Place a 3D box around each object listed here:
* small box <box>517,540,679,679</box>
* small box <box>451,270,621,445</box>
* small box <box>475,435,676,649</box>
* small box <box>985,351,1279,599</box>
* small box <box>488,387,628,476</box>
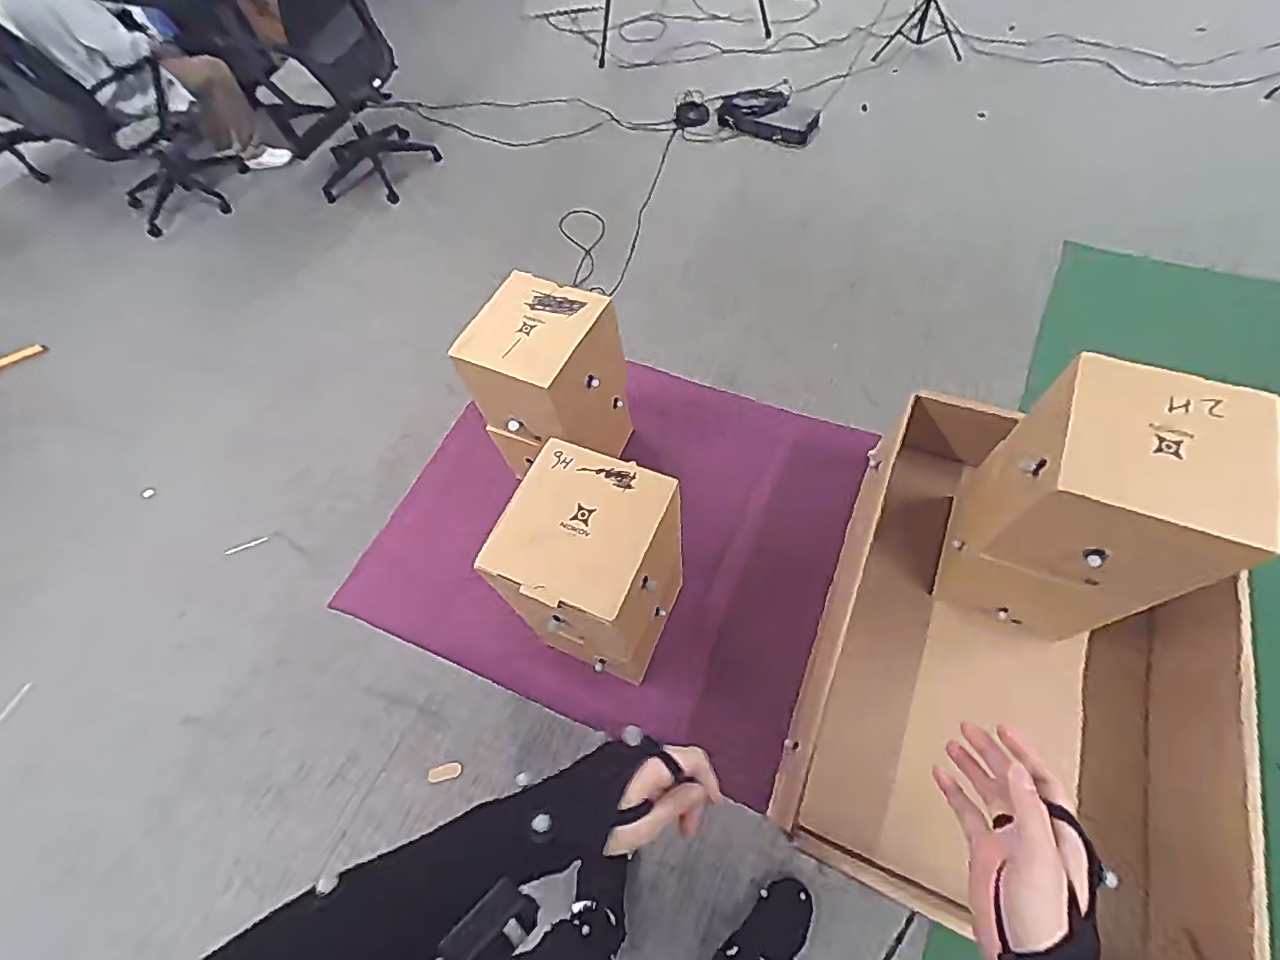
[{"bbox_3d":[-0.047,0.166,0.788,0.168,0.176,0.179,20,63,16],"label":"small box"},{"bbox_3d":[-0.138,-0.171,0.802,0.168,0.176,0.179,22,65,18],"label":"small box"},{"bbox_3d":[-0.059,0.081,0.648,0.168,0.176,0.179,19,64,15],"label":"small box"},{"bbox_3d":[0.494,0.002,0.568,0.168,0.176,0.179,21,66,18],"label":"small box"},{"bbox_3d":[-0.129,-0.089,0.945,0.168,0.176,0.179,18,63,16],"label":"small box"}]
